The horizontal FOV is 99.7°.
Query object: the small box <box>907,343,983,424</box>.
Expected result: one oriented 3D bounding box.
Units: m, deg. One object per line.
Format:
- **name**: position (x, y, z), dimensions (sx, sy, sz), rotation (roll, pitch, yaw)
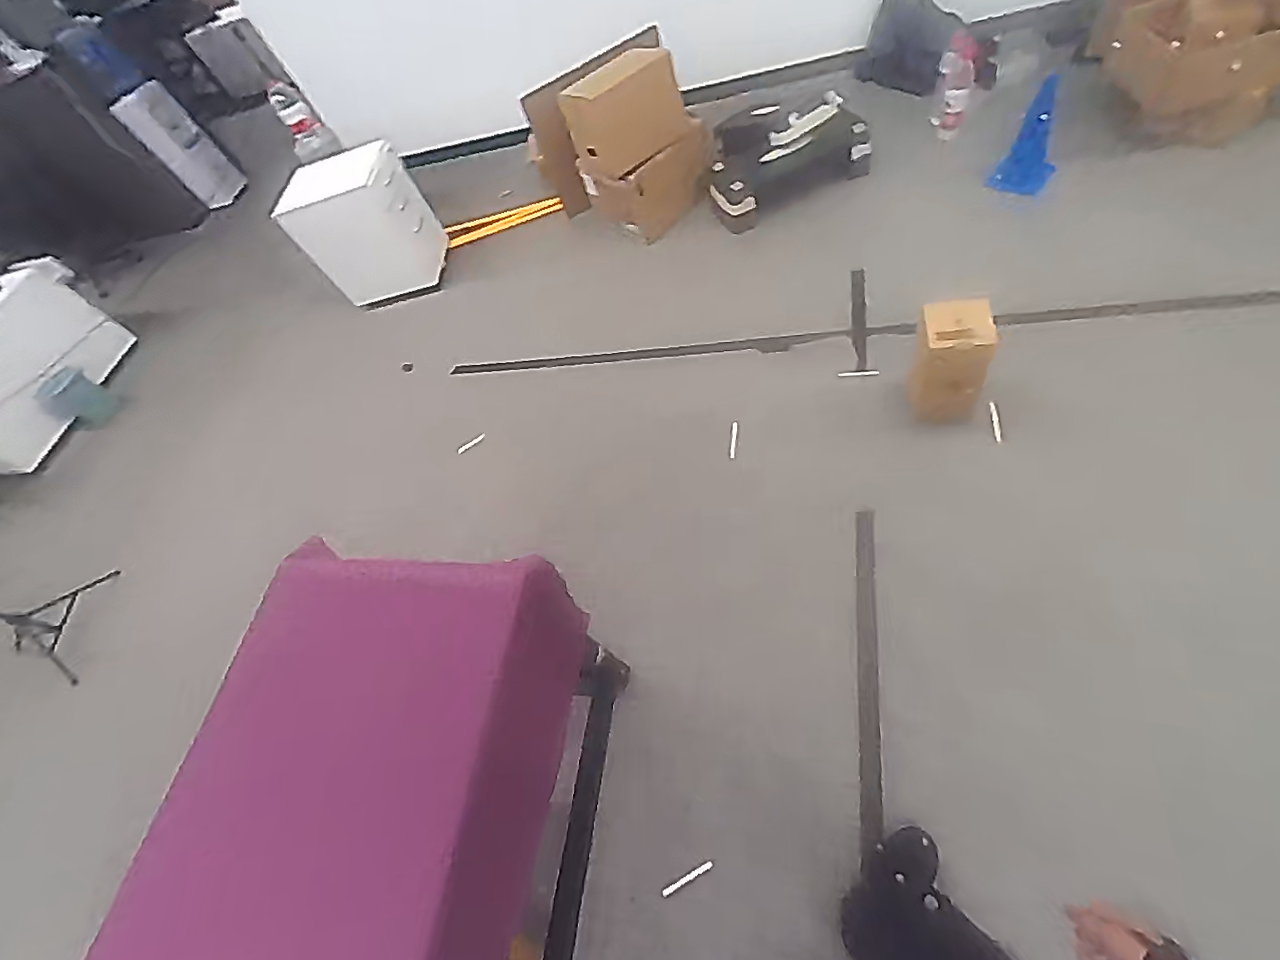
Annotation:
- **small box**: position (0.943, -0.297, 1.687), dimensions (0.168, 0.176, 0.179), rotation (-3, 60, 17)
